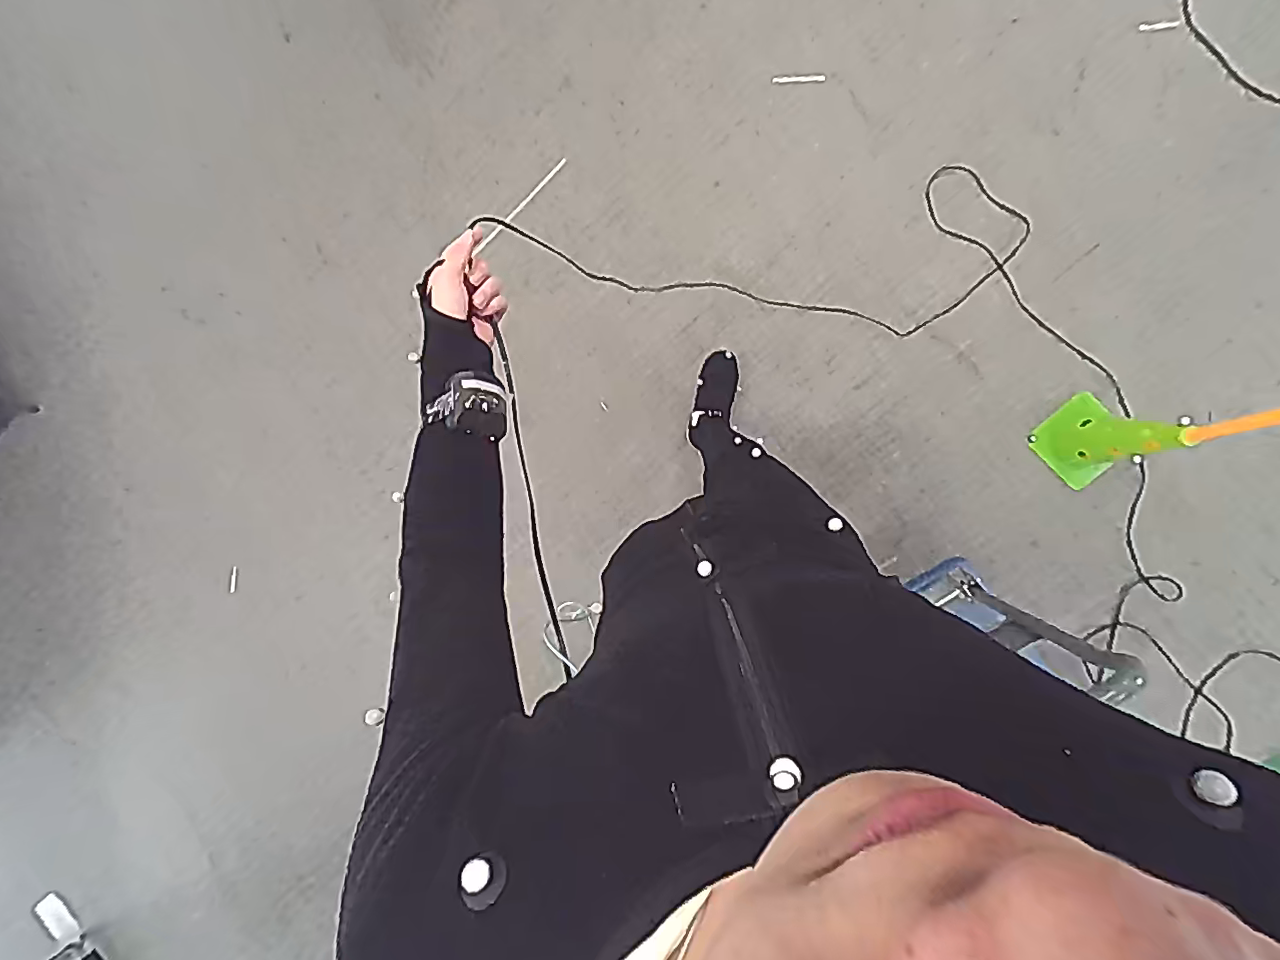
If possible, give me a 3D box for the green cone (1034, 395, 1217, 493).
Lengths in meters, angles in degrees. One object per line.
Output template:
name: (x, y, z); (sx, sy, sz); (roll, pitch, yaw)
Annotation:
green cone: (1.153, -0.087, 1.254); (0.202, 0.368, 0.200); (-44, 86, 7)
